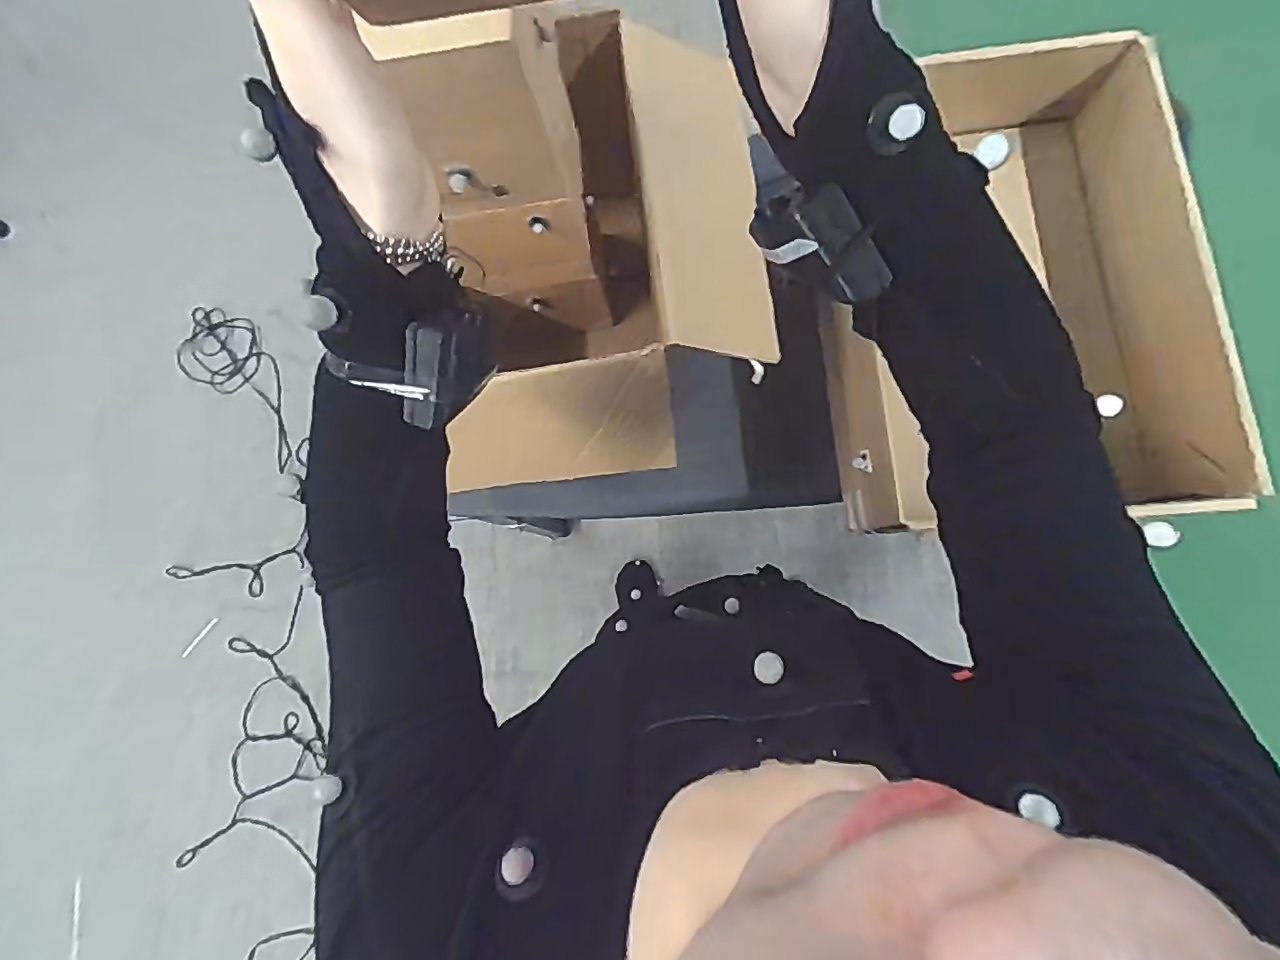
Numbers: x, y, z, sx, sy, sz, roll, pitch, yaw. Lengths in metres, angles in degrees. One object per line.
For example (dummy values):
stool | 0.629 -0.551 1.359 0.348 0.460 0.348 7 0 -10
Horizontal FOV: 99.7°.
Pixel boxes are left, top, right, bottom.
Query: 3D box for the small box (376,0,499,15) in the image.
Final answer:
small box | -0.062 -0.299 0.178 0.179 0.176 0.168 -6 106 4

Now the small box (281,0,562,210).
small box | -0.168 -0.367 0.461 0.168 0.176 0.179 -6 84 5
